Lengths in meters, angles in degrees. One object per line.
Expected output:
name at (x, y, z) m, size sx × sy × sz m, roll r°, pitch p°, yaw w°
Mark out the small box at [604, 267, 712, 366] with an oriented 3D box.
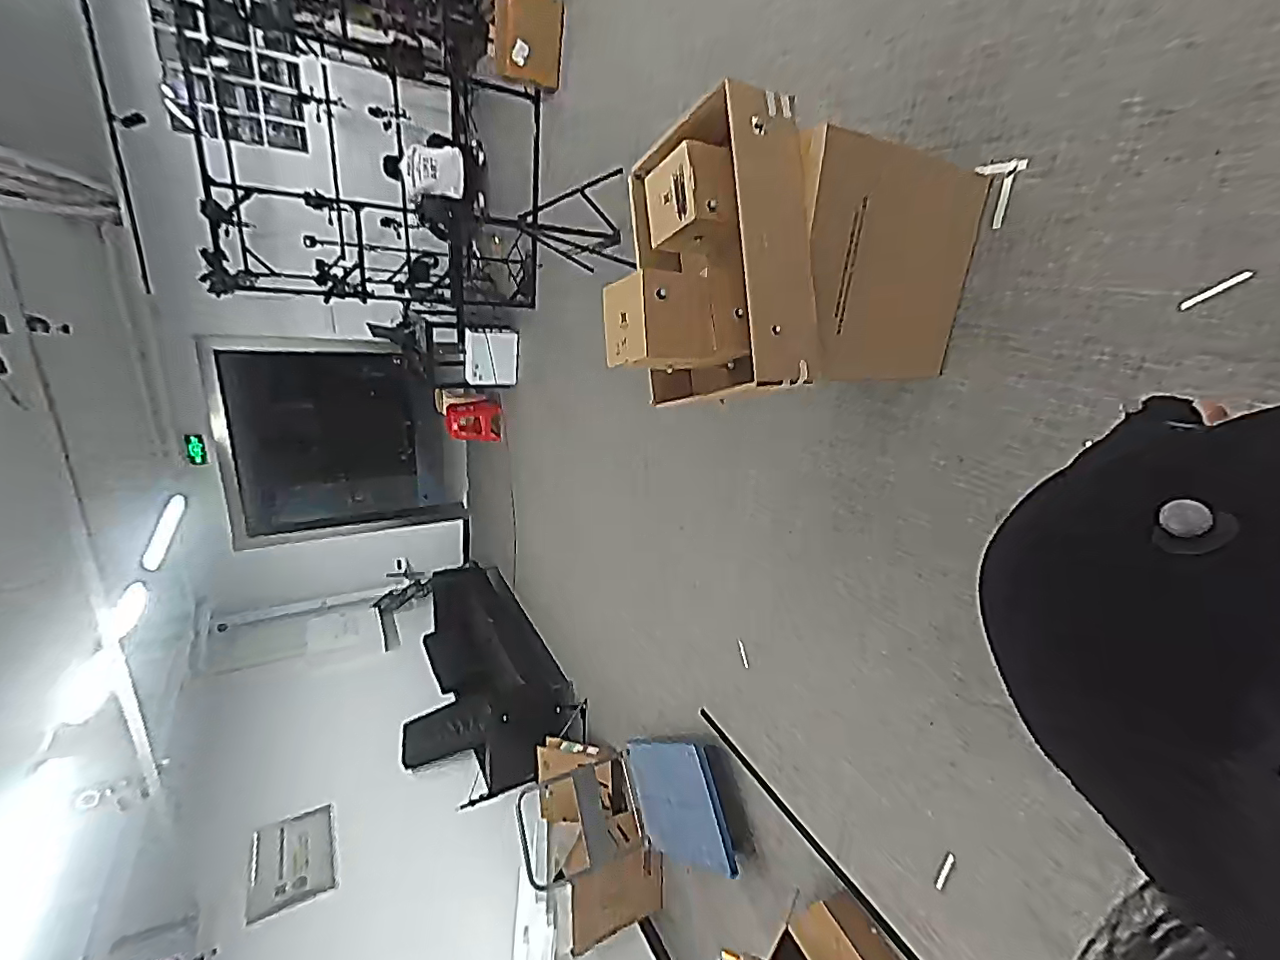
small box at (0.040, -0.340, 1.161) m, size 0.168 × 0.176 × 0.179 m, roll 7°, pitch 102°, yaw 59°
